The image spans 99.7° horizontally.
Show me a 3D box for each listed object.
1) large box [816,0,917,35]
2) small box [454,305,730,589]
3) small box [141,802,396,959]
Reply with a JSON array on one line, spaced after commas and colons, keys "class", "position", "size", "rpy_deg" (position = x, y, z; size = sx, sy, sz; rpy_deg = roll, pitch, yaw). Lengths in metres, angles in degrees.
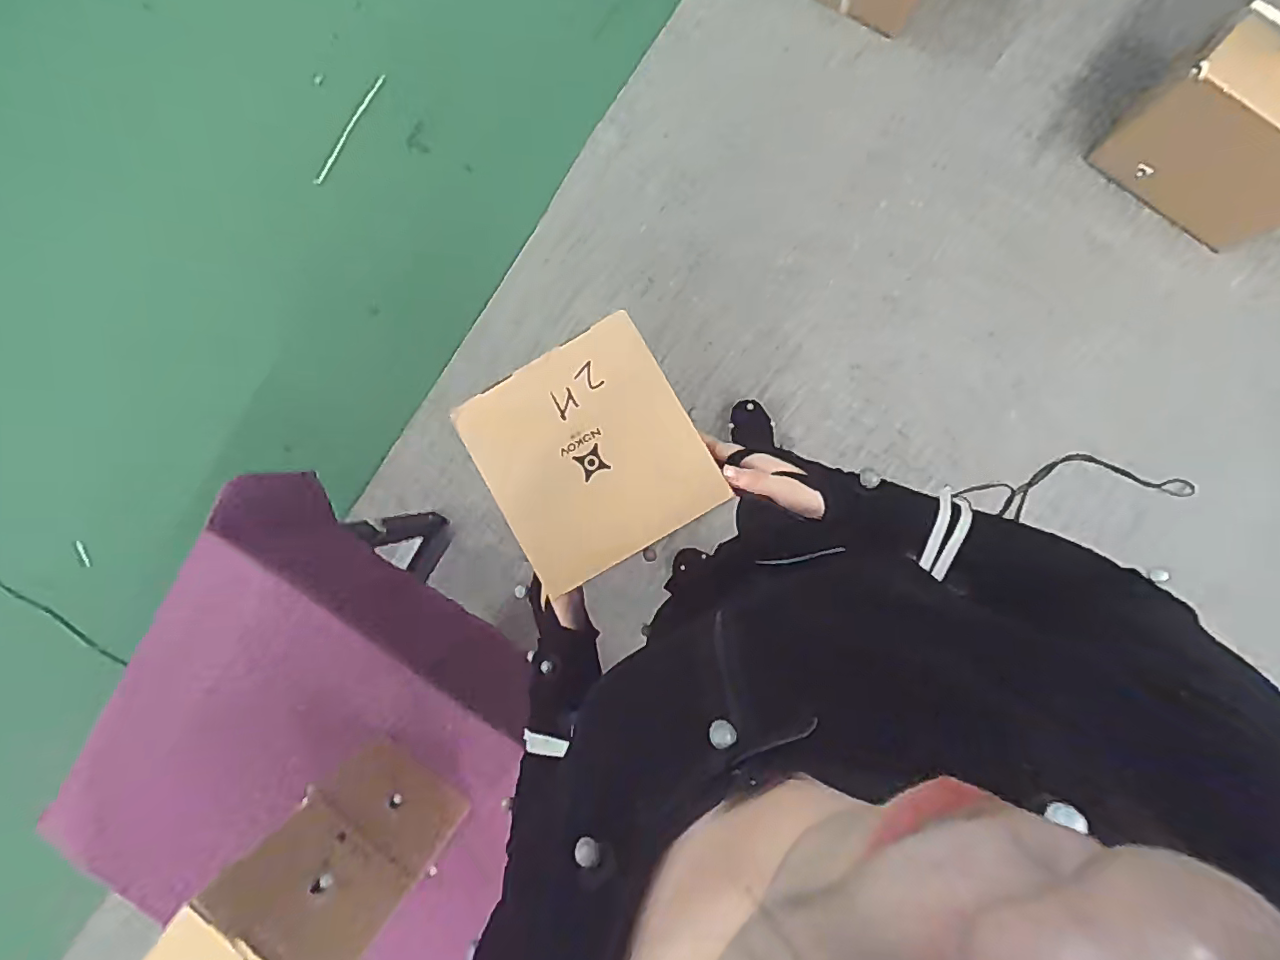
[{"class": "large box", "position": [0.621, -1.404, 1.273], "size": [0.320, 0.320, 0.408], "rpy_deg": [34, 93, 6]}, {"class": "small box", "position": [-0.033, -0.024, 0.503], "size": [0.168, 0.176, 0.179], "rpy_deg": [-29, 86, 2]}, {"class": "small box", "position": [-0.399, 0.502, 0.585], "size": [0.168, 0.176, 0.179], "rpy_deg": [38, 94, 5]}]
